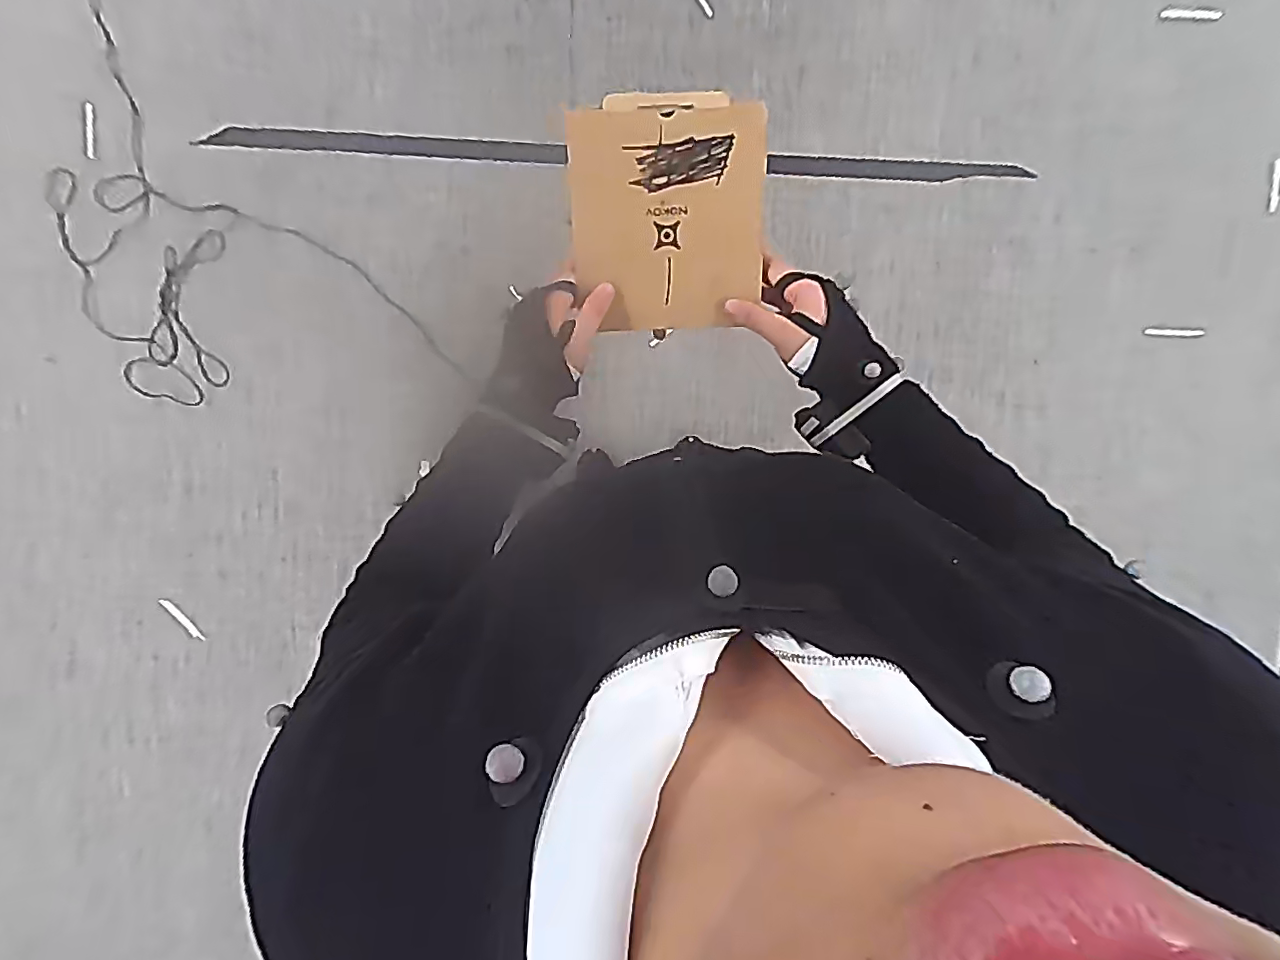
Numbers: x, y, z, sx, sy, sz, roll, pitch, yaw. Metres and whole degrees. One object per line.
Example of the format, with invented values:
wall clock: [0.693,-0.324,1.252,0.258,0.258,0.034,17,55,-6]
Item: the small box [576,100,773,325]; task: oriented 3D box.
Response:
small box: [0.029,-0.250,0.542,0.168,0.176,0.179,-1,110,1]
